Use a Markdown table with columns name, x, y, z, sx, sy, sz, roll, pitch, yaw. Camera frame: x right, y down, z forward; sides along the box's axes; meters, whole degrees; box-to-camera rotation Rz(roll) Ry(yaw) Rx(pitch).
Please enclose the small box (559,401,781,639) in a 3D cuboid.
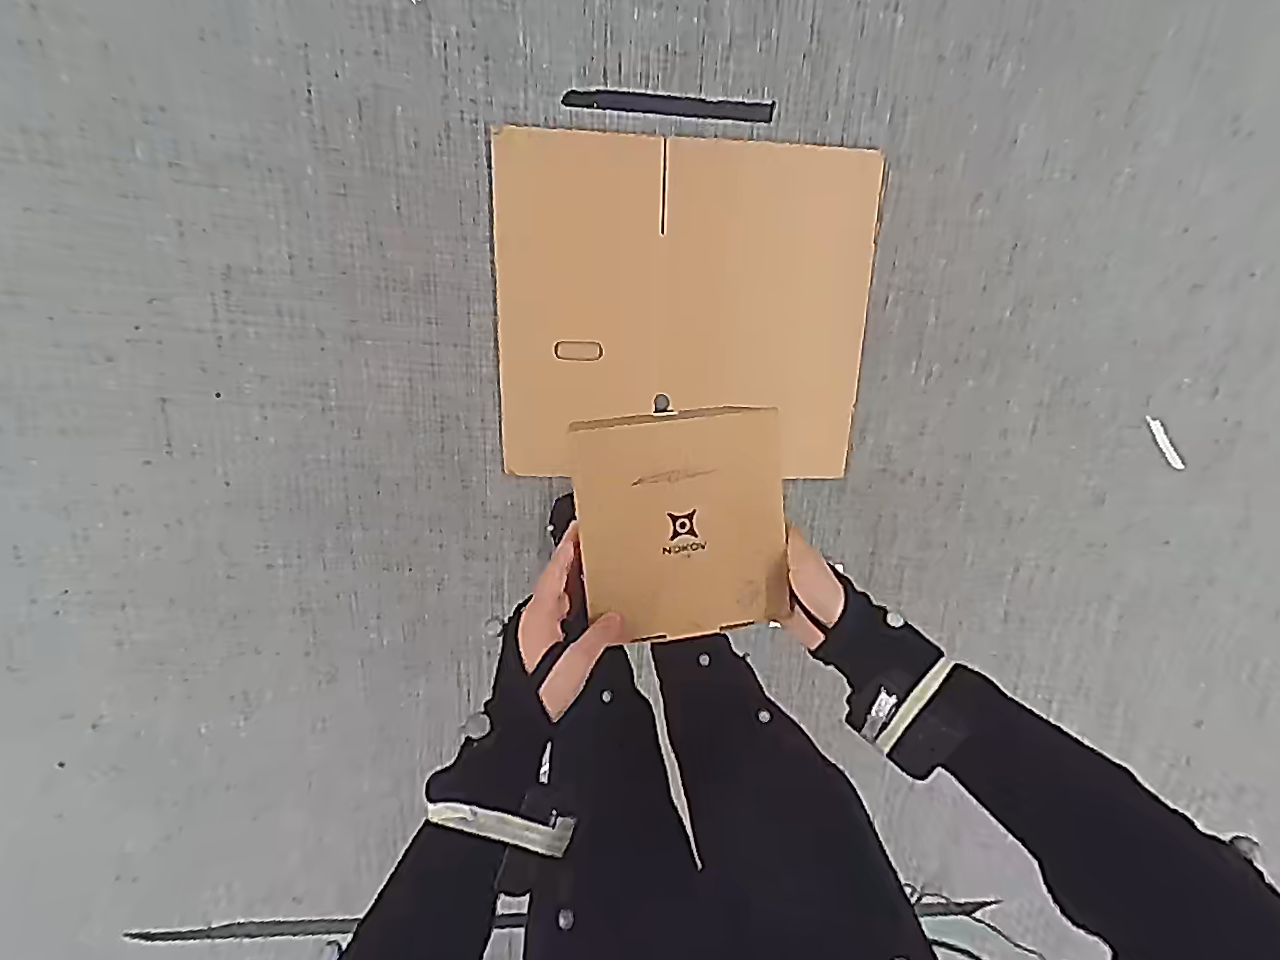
| name | x | y | z | sx | sy | sz | roll | pitch | yaw |
| --- | --- | --- | --- | --- | --- | --- | --- | --- | --- |
| small box | 0.020 | 0.022 | 0.506 | 0.168 | 0.176 | 0.179 | -8 | 99 | -6 |
